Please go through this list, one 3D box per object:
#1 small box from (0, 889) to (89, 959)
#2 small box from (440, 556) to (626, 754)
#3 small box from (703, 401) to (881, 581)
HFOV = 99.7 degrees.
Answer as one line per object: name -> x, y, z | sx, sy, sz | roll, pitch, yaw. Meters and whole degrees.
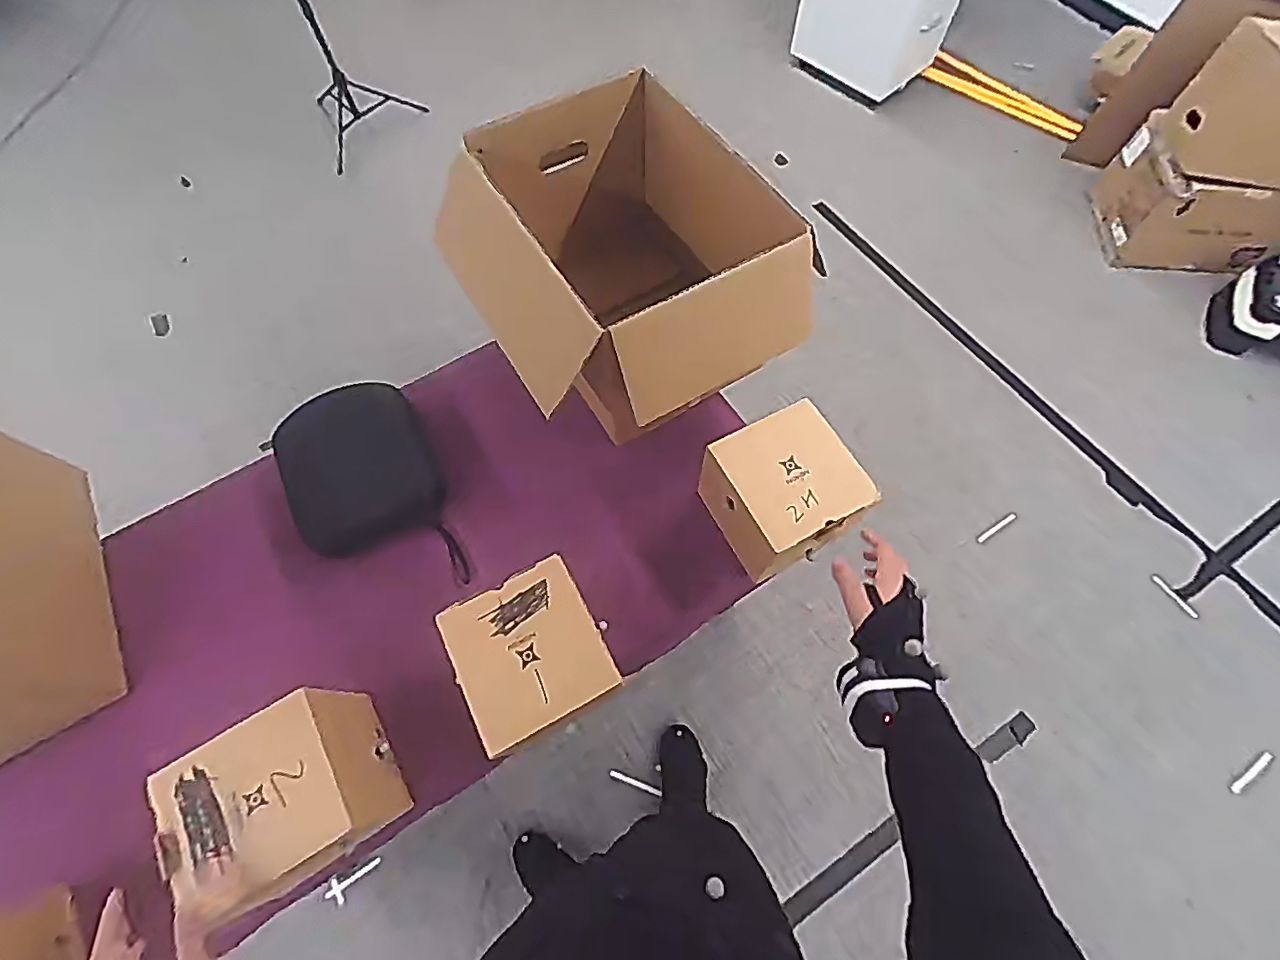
small box -> -0.740, 0.579, 0.560 | 0.179, 0.176, 0.168 | -32, 70, -14
small box -> -0.129, 0.229, 0.704 | 0.168, 0.176, 0.179 | -27, 69, -10
small box -> 0.204, 0.023, 0.788 | 0.168, 0.176, 0.179 | -26, 68, -9
